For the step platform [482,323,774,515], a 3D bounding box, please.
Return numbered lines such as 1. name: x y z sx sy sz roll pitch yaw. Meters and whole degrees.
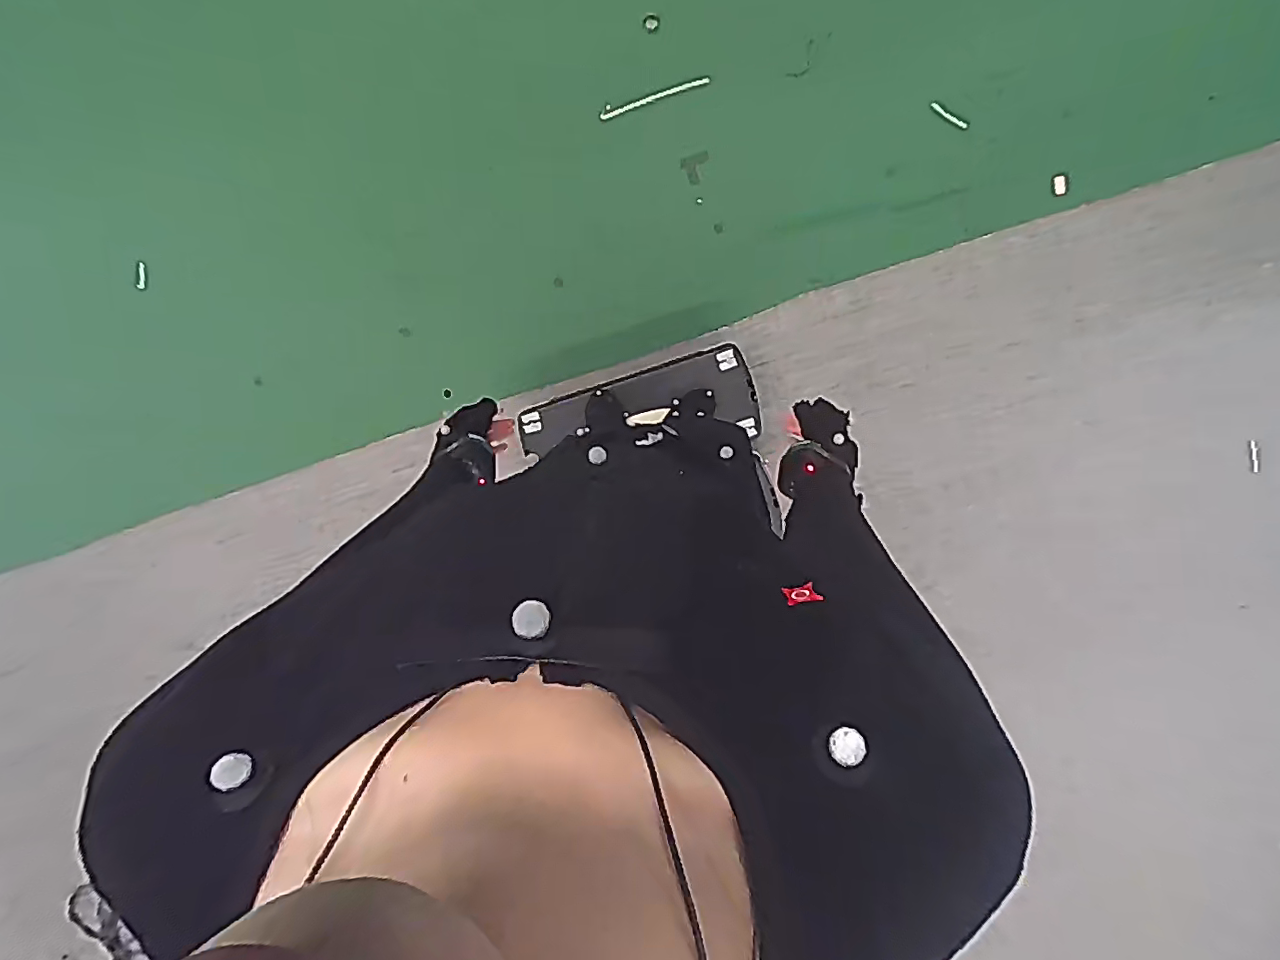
1. step platform: -0.030 -0.155 1.364 0.684 0.204 0.286 -18 100 5
